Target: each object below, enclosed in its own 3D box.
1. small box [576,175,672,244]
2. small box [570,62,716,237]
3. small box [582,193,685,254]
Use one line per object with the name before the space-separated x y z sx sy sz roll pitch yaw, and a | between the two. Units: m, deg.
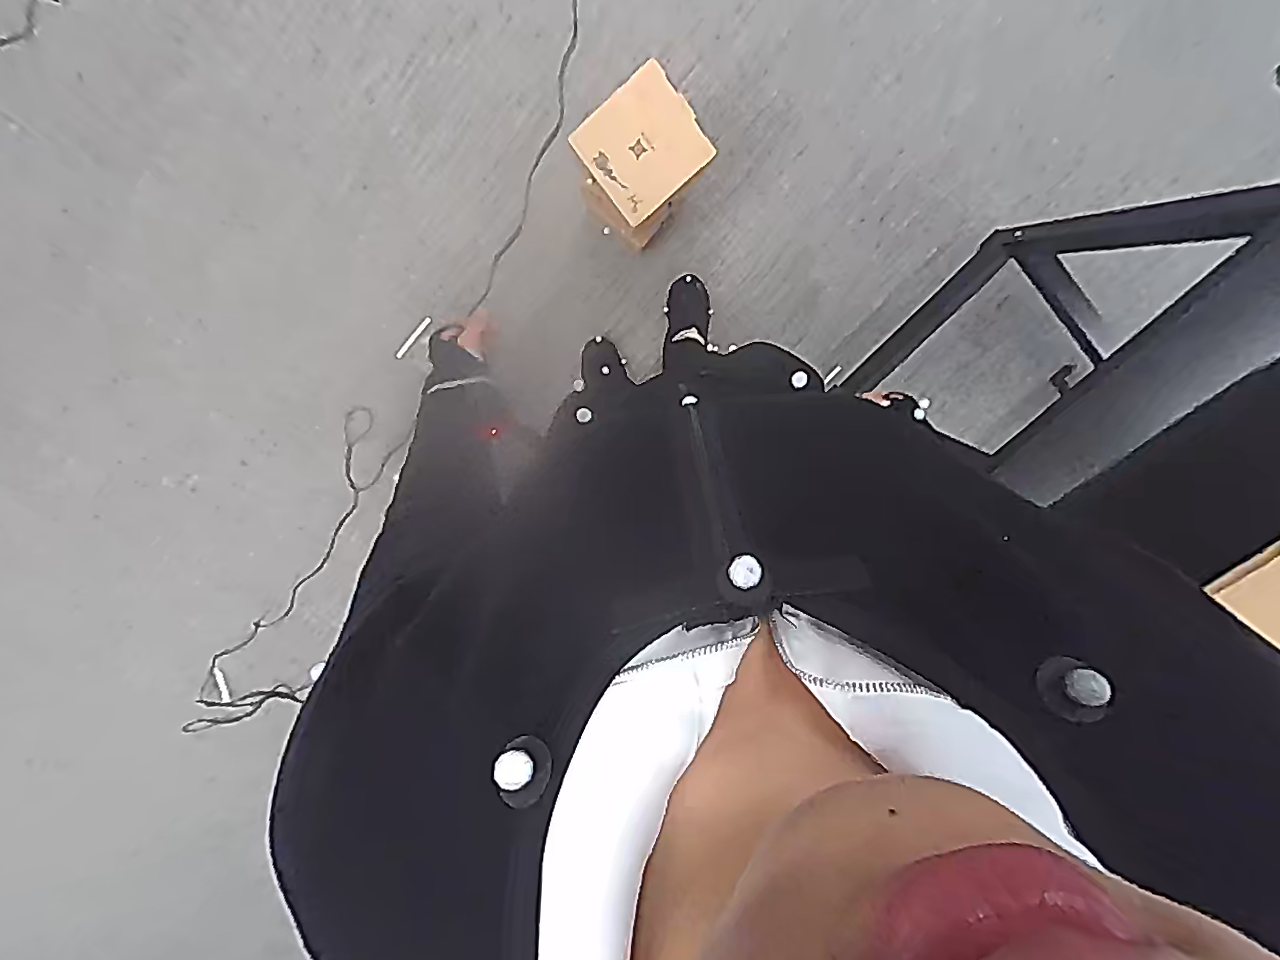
small box | -0.006 -0.595 1.071 0.168 0.176 0.179 35 103 -13
small box | 0.000 -0.542 0.916 0.179 0.176 0.168 -38 106 10
small box | -0.013 -0.641 1.227 0.168 0.176 0.179 38 104 -13
